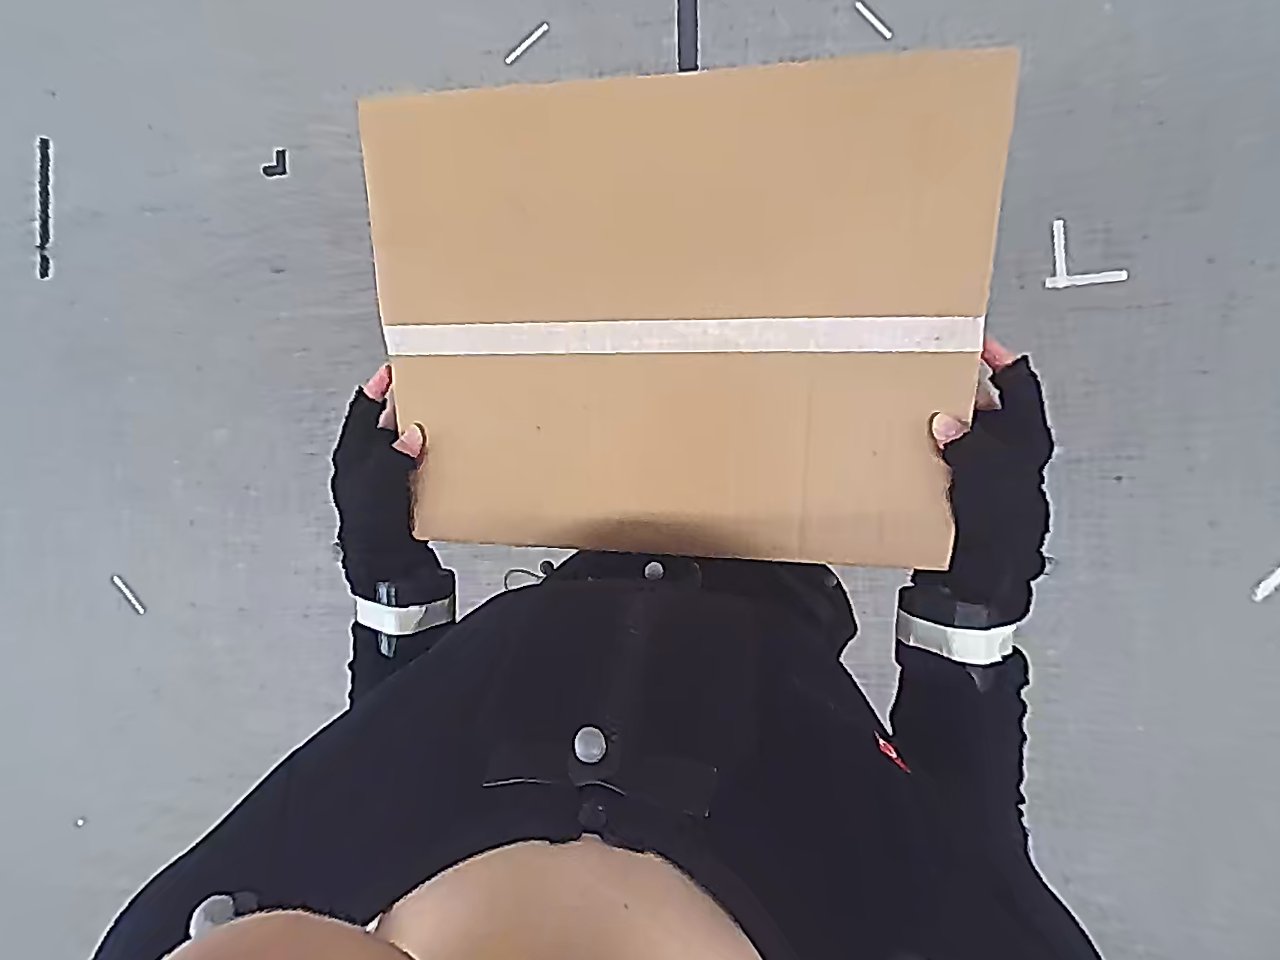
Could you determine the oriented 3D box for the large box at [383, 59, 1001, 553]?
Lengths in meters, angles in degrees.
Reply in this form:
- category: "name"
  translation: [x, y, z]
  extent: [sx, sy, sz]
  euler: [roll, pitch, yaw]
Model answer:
- category: "large box"
  translation: [0.040, -0.135, 0.522]
  extent: [0.408, 0.320, 0.320]
  euler: [2, 105, 9]
